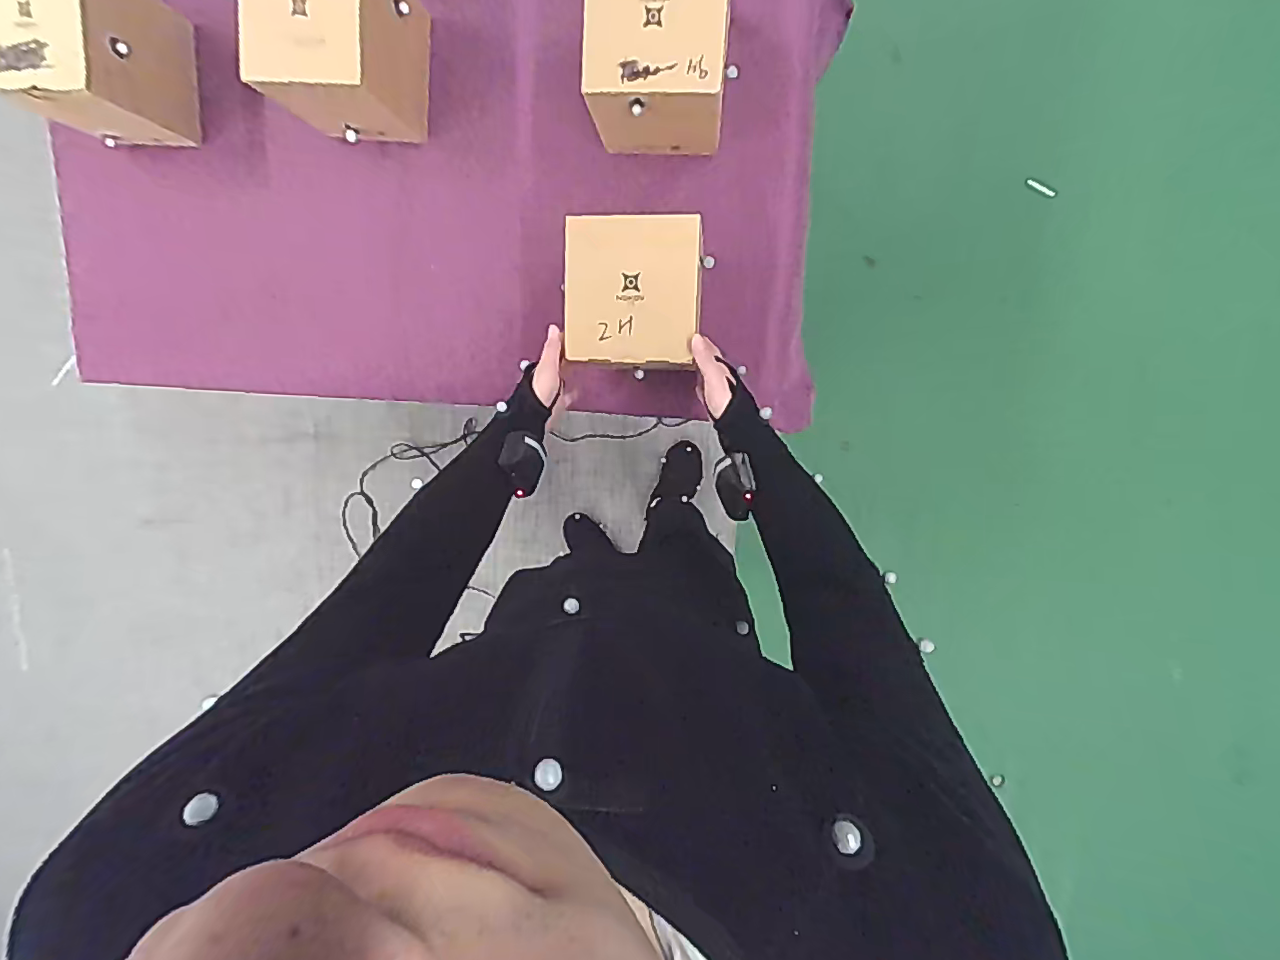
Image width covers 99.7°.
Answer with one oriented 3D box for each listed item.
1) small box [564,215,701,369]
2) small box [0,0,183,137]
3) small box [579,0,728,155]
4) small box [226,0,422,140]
[{"bbox_3d":[-0.004,-0.247,0.743,0.168,0.176,0.179,3,101,7],"label":"small box"},{"bbox_3d":[-0.786,-0.605,0.753,0.168,0.176,0.179,5,101,4],"label":"small box"},{"bbox_3d":[0.024,-0.546,0.688,0.168,0.176,0.179,5,101,6],"label":"small box"},{"bbox_3d":[-0.409,-0.591,0.724,0.168,0.176,0.179,7,102,5],"label":"small box"}]
